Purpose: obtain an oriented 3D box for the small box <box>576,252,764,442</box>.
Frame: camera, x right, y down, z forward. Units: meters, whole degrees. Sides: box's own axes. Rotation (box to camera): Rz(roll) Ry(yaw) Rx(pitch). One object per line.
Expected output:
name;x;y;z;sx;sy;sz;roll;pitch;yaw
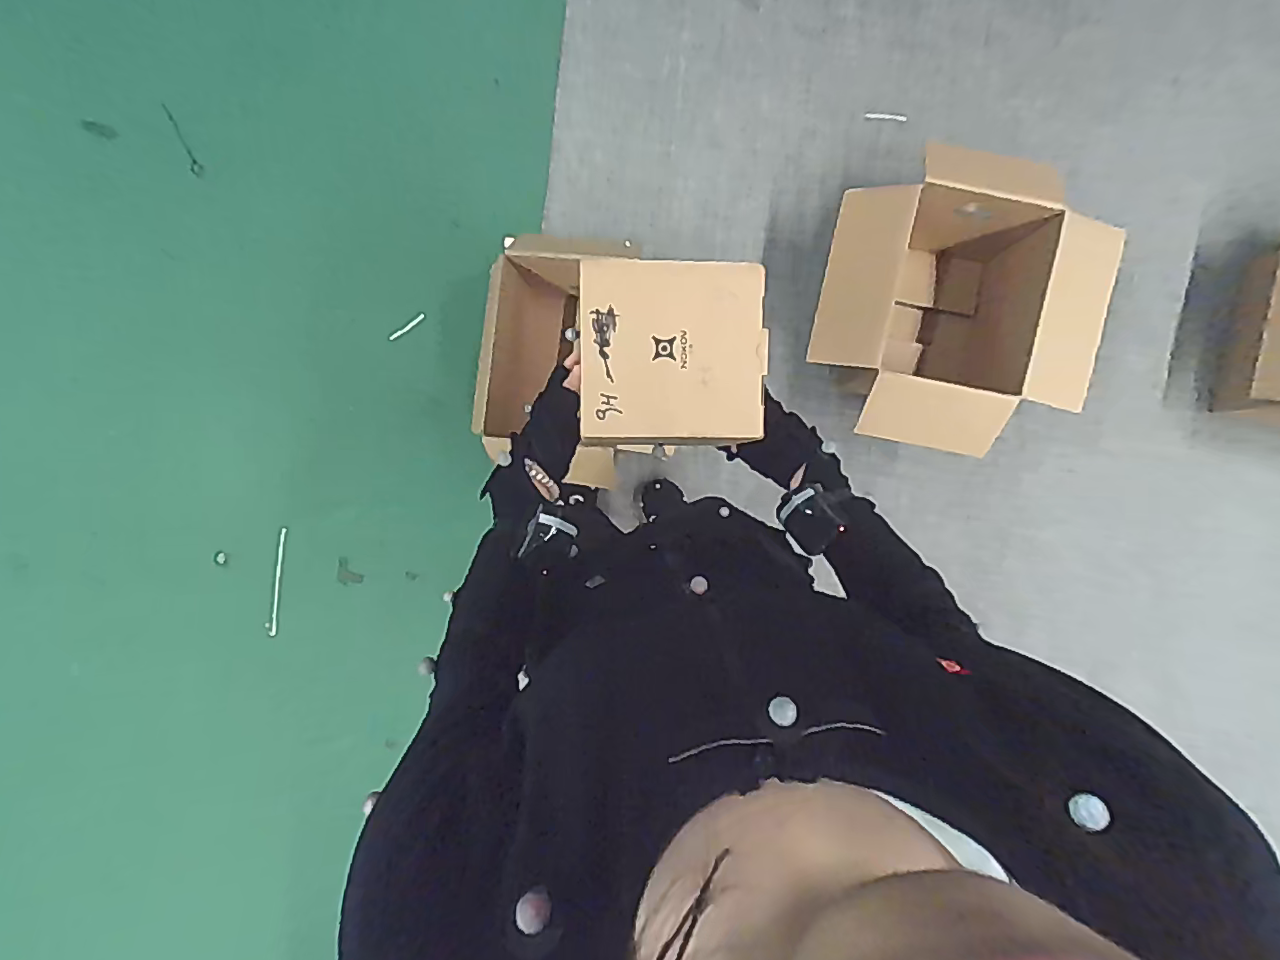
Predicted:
small box;0.022;-0.129;0.589;0.179;0.176;0.168;1;91;-5
